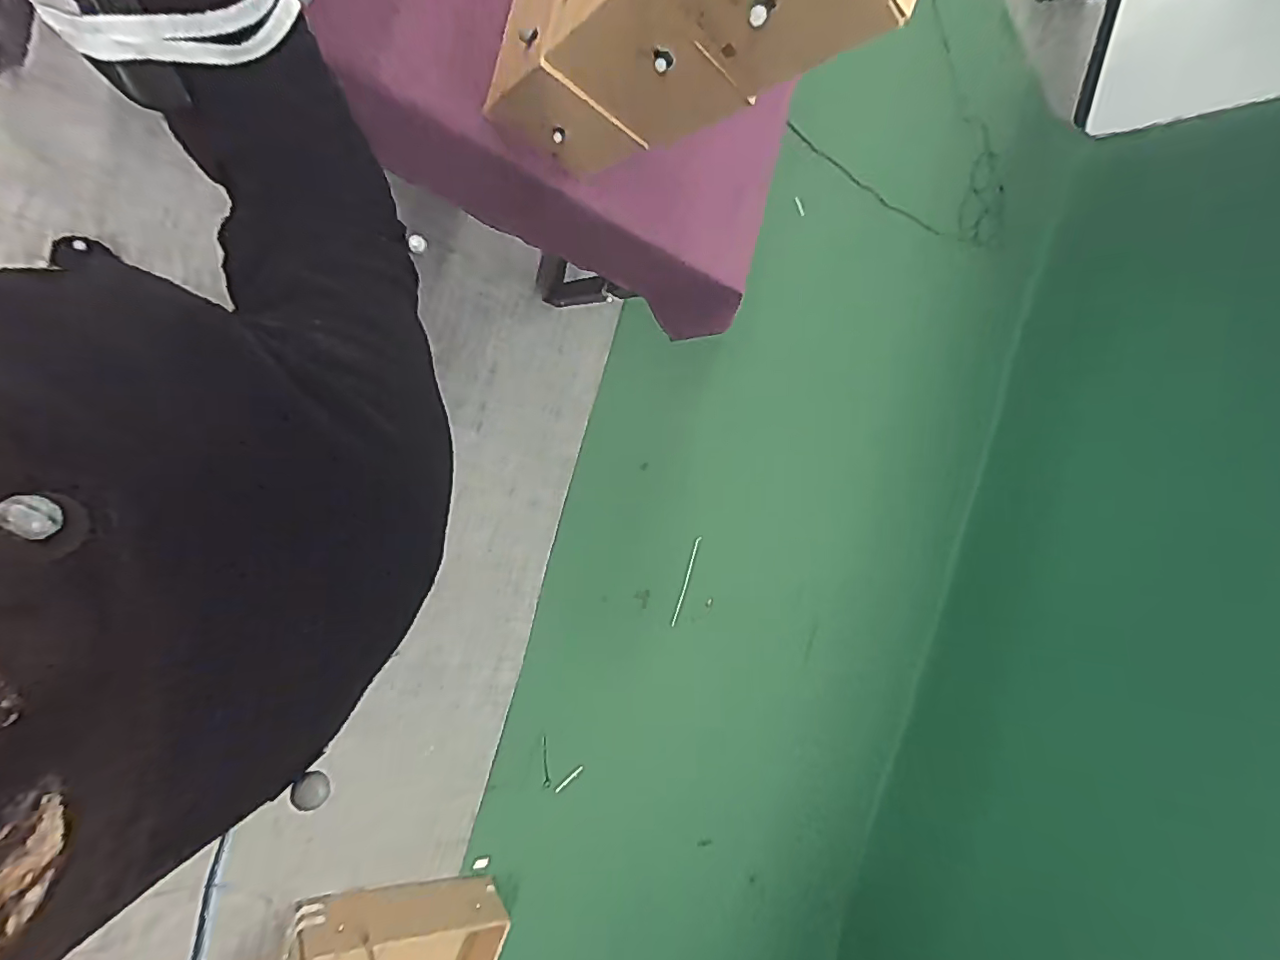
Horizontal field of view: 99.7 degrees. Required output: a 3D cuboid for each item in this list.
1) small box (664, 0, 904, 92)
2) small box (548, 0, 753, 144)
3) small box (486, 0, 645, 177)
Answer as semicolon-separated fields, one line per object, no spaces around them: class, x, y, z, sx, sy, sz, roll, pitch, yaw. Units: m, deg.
small box;0.126;-0.486;0.463;0.168;0.176;0.179;15;92;-40
small box;0.025;-0.508;0.591;0.179;0.176;0.168;16;91;-41
small box;-0.083;-0.537;0.712;0.168;0.176;0.179;15;91;-40
